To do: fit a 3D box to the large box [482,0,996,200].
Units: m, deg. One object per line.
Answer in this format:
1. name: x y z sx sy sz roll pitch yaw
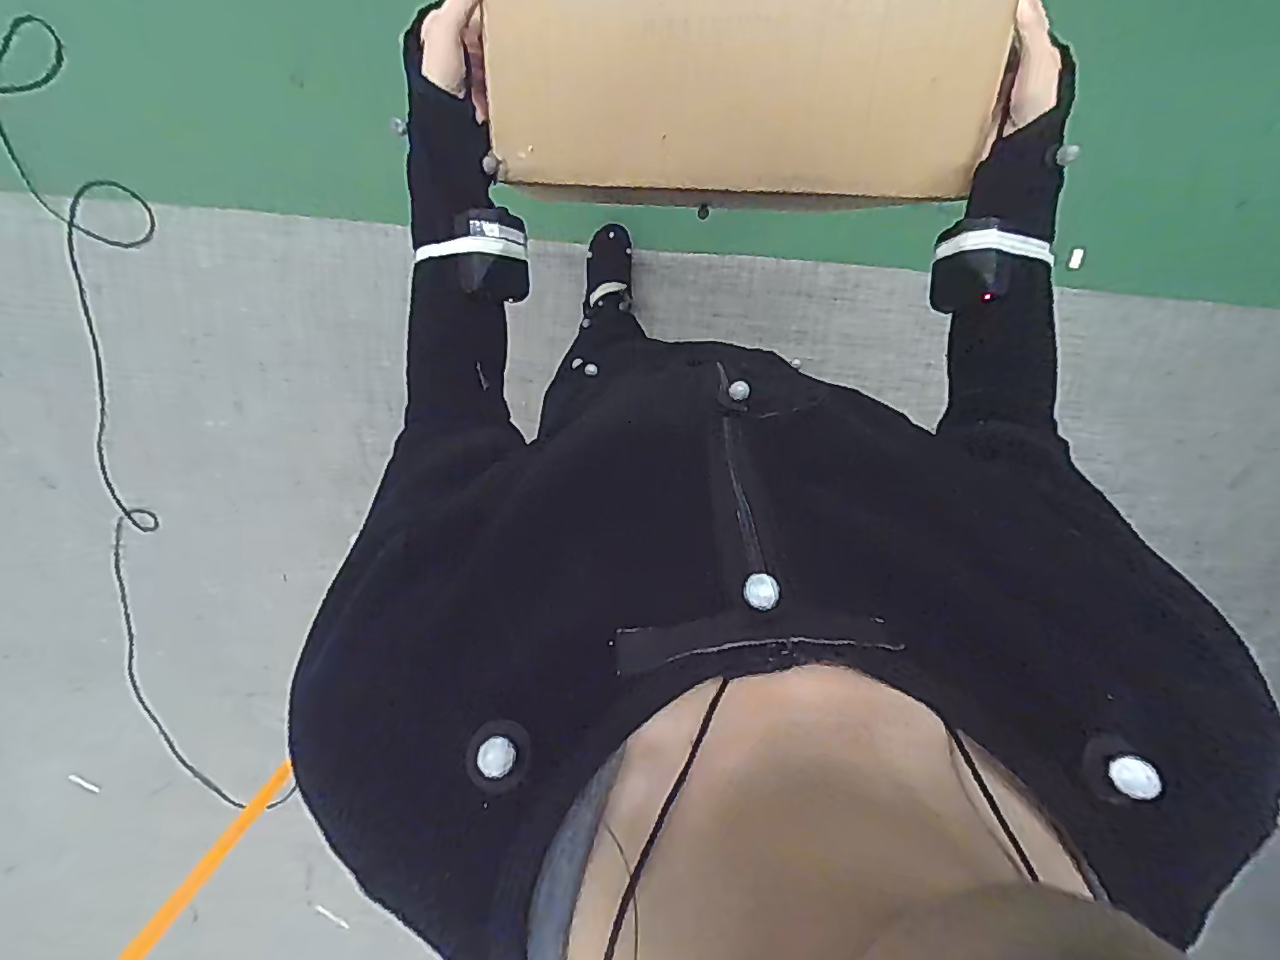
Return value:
1. large box: 0.073 -0.454 0.533 0.408 0.320 0.320 0 114 -4
